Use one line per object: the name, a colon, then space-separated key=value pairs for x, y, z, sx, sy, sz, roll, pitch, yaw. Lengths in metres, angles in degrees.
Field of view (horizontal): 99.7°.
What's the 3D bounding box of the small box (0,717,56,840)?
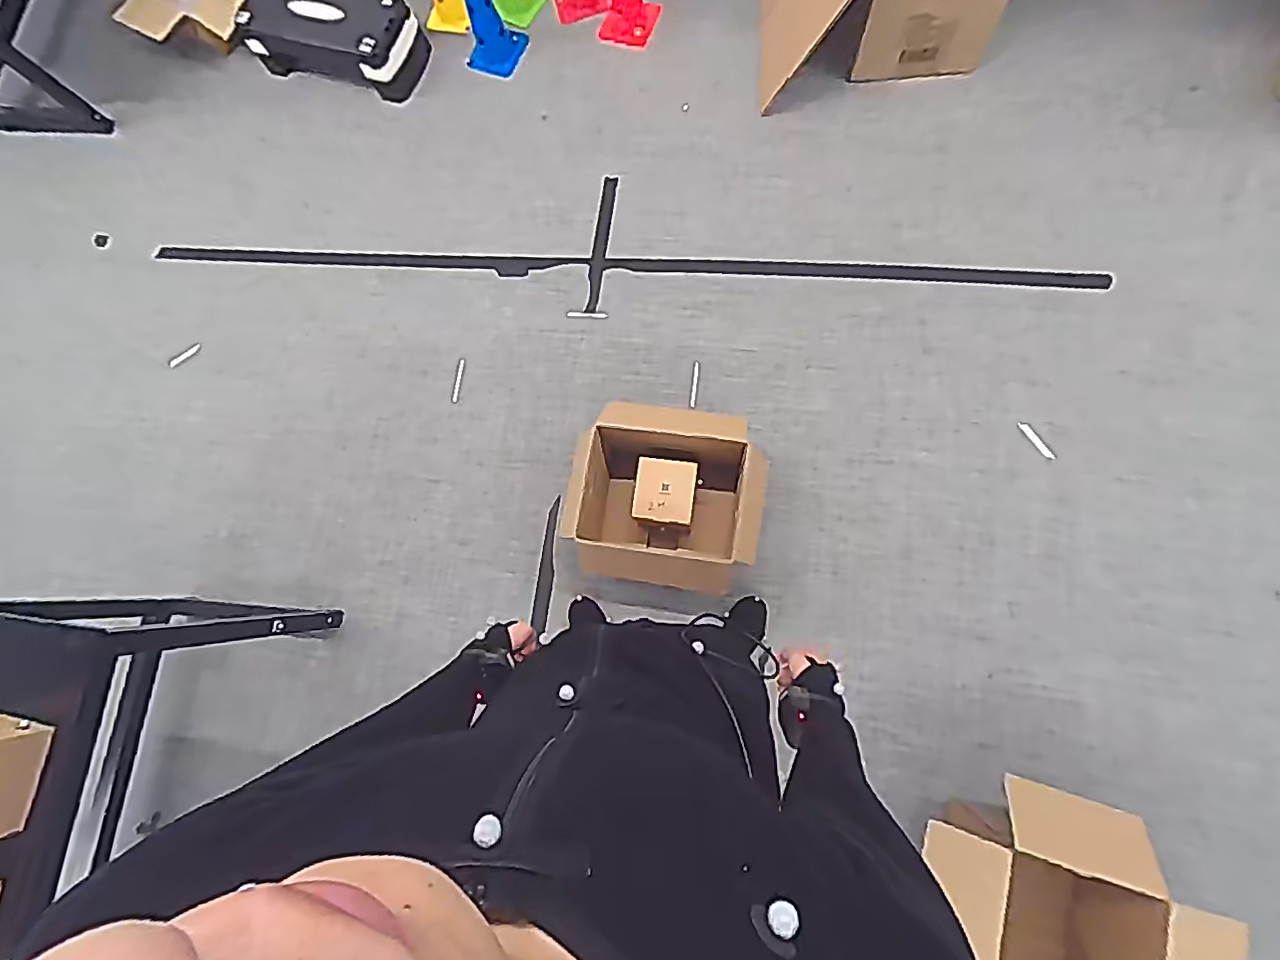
small box: x=-1.165 y=0.518 z=0.915 sx=0.168 sy=0.176 sz=0.179 roll=7 pitch=82 yaw=10
